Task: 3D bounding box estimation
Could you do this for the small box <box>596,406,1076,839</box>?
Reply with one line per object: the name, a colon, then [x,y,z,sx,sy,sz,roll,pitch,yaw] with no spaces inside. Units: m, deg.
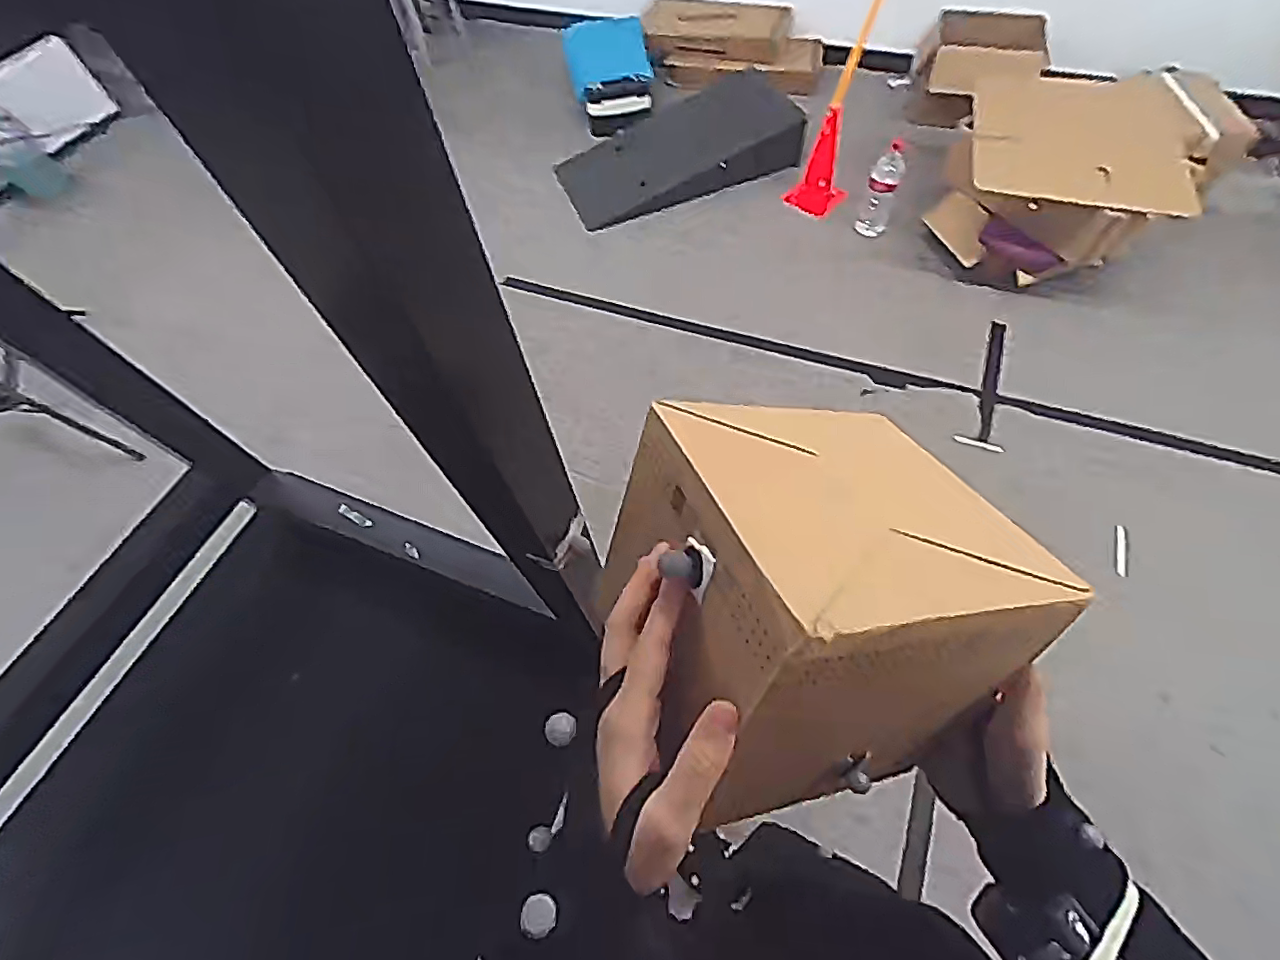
small box: [0.092,0.069,0.320,0.179,0.176,0.168,1,37,-24]
